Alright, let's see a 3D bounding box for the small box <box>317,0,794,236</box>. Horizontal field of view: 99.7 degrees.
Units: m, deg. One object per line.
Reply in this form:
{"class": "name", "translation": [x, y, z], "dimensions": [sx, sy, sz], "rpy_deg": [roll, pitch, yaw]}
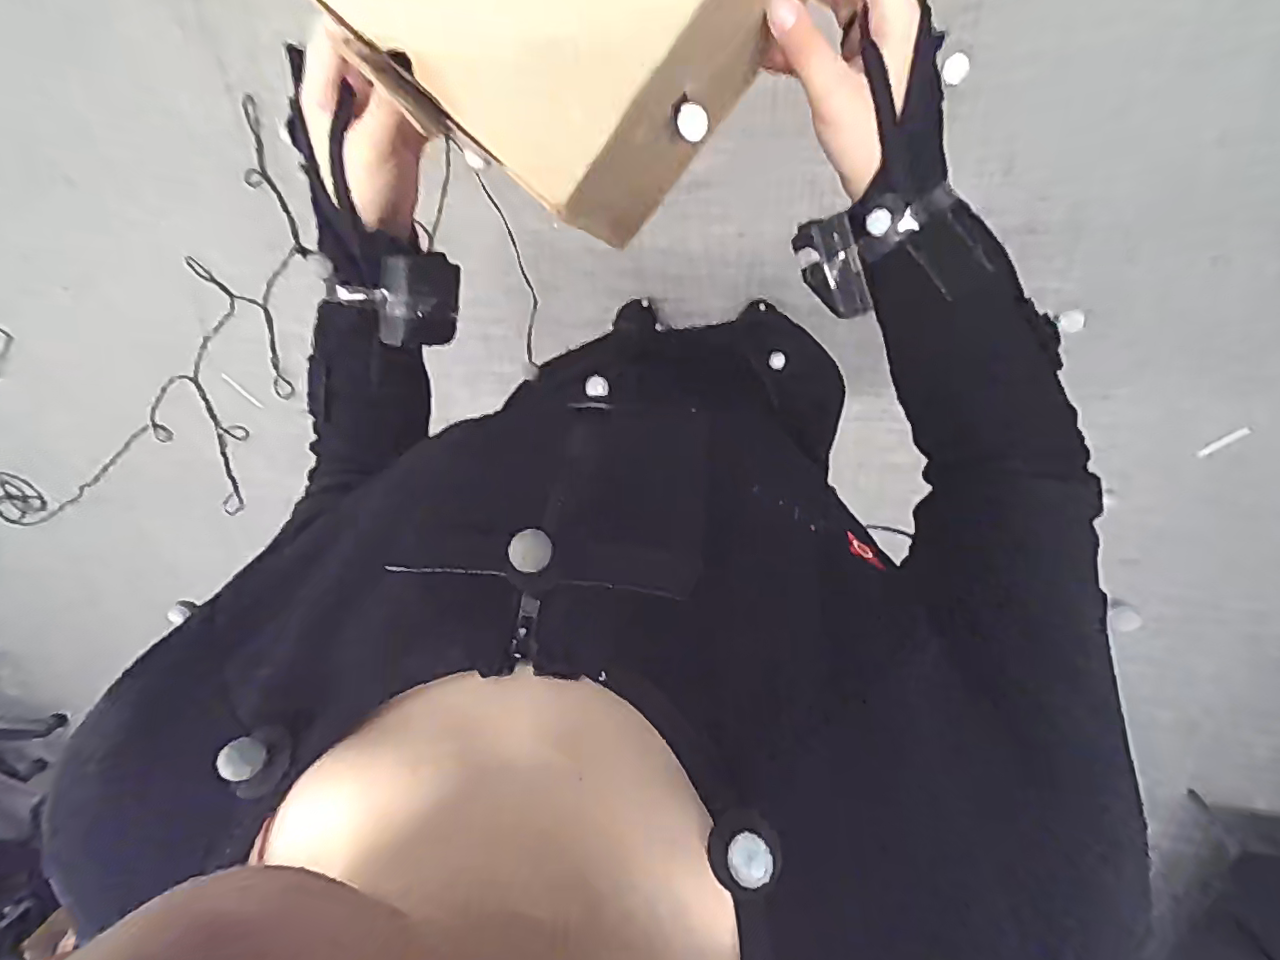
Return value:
{"class": "small box", "translation": [-0.027, -0.250, 0.272], "dimensions": [0.168, 0.176, 0.179], "rpy_deg": [40, 109, -6]}
